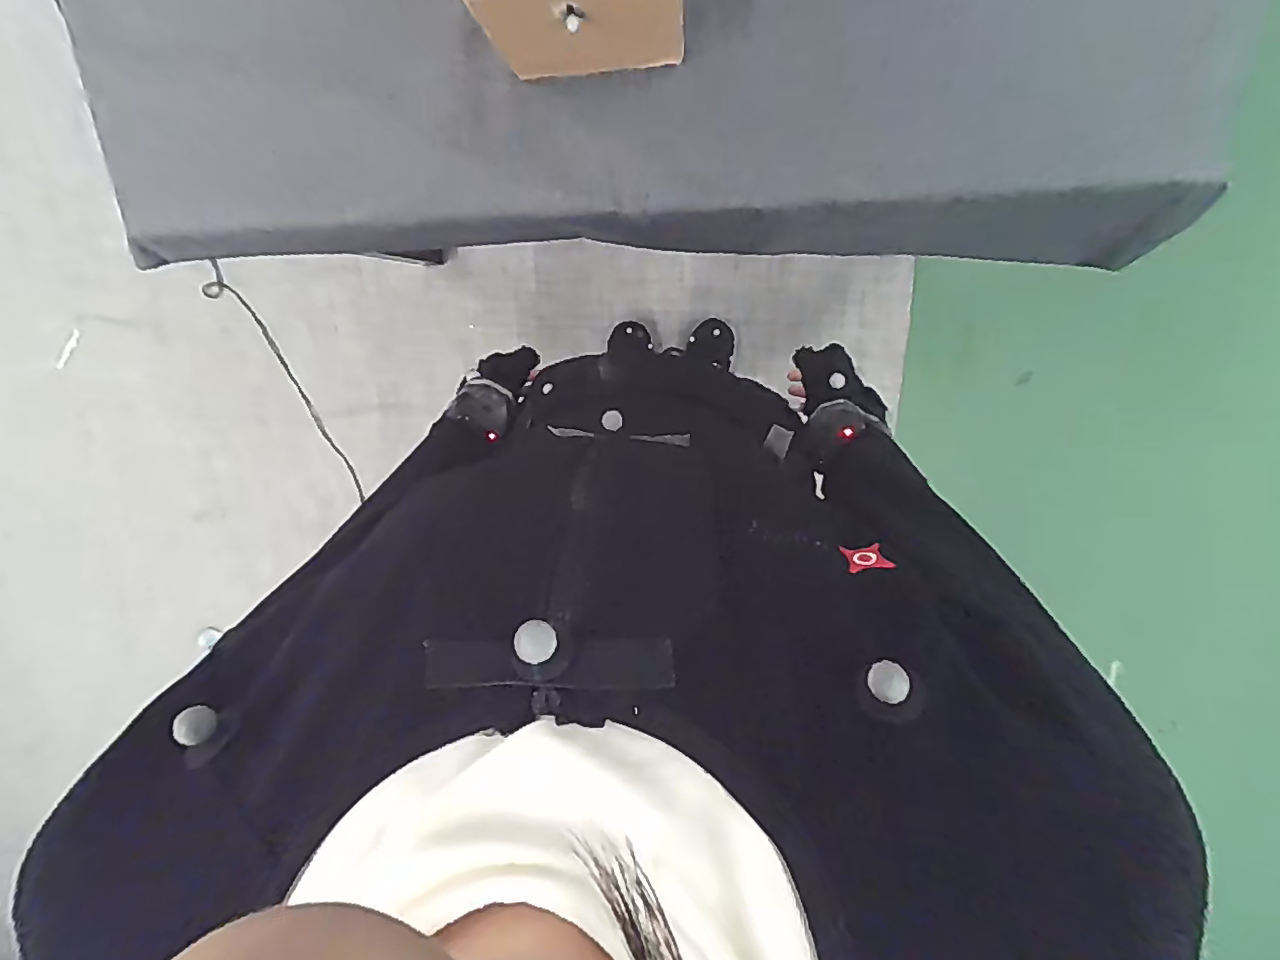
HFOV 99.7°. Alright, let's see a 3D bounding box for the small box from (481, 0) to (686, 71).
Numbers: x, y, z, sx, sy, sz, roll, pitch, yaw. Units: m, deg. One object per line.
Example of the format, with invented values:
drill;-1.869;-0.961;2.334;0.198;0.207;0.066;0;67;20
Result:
small box;-0.050;-0.481;0.462;0.179;0.176;0.168;-1;108;5
